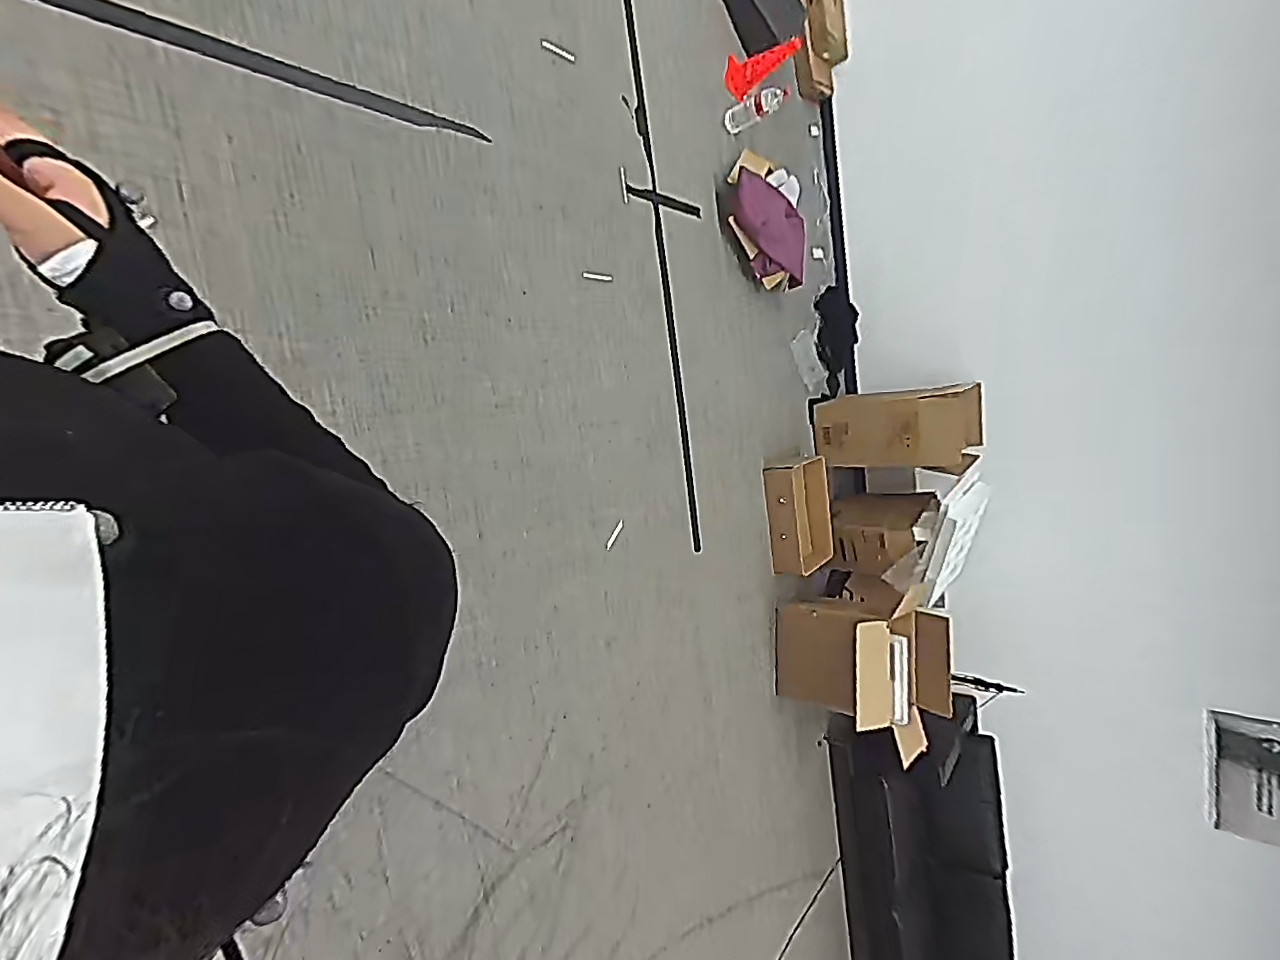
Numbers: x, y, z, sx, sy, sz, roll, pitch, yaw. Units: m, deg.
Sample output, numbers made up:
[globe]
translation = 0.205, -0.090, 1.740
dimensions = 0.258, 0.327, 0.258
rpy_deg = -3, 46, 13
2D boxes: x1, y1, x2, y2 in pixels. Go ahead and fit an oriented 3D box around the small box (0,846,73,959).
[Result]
[small box]
translation = -0.780, 0.568, 0.606
dimensions = 0.179, 0.176, 0.168
rpy_deg = -17, 100, -46
